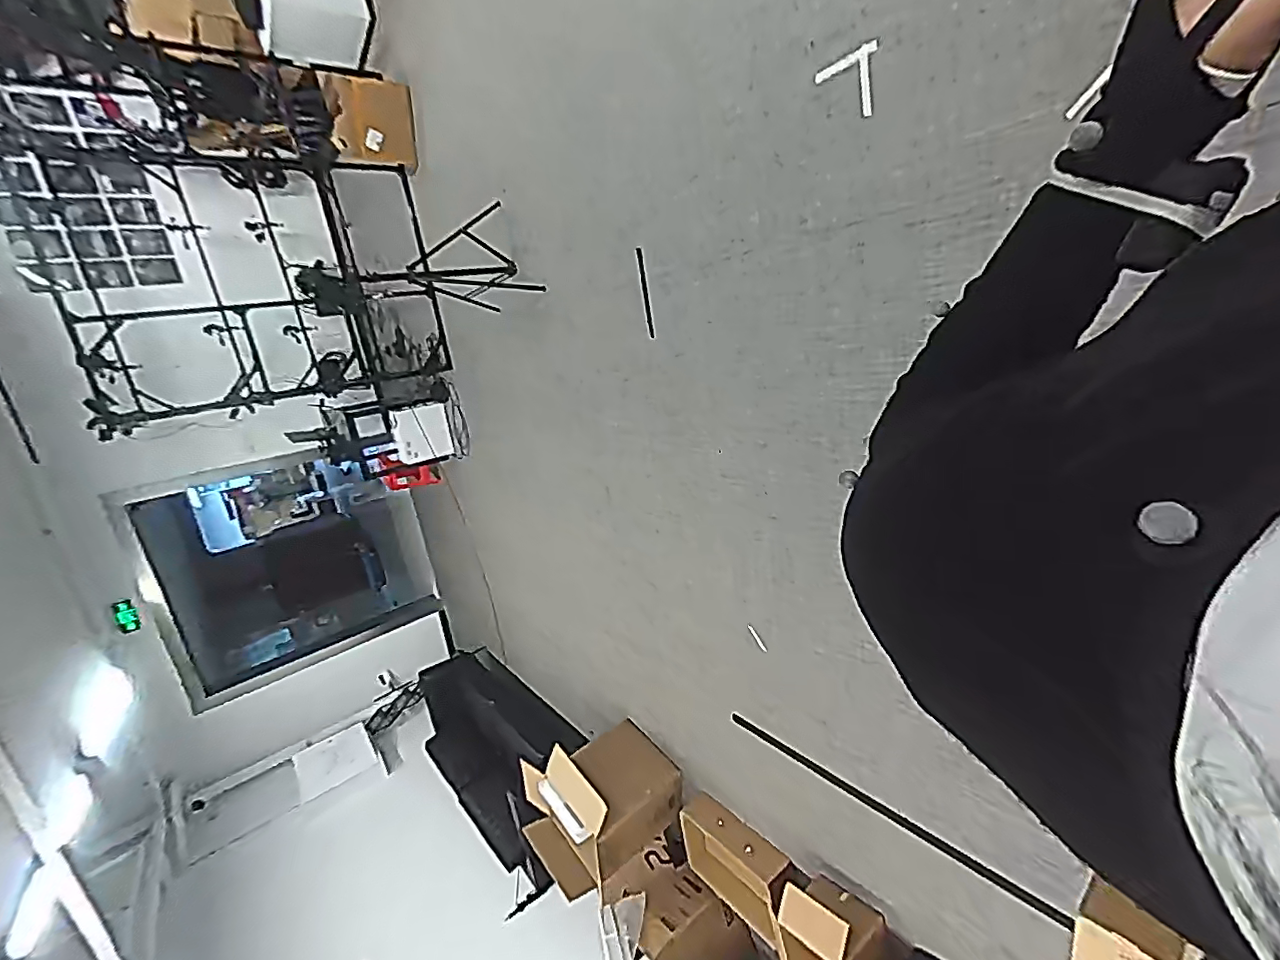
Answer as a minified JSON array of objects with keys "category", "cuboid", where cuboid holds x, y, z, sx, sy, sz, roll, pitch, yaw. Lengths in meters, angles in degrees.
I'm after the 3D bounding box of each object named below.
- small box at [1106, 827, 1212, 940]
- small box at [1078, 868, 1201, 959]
[{"category":"small box","cuboid":[1.249,0.998,1.309,0.168,0.176,0.179,11,114,52]},{"category":"small box","cuboid":[1.120,1.037,1.212,0.168,0.176,0.179,13,116,51]}]
